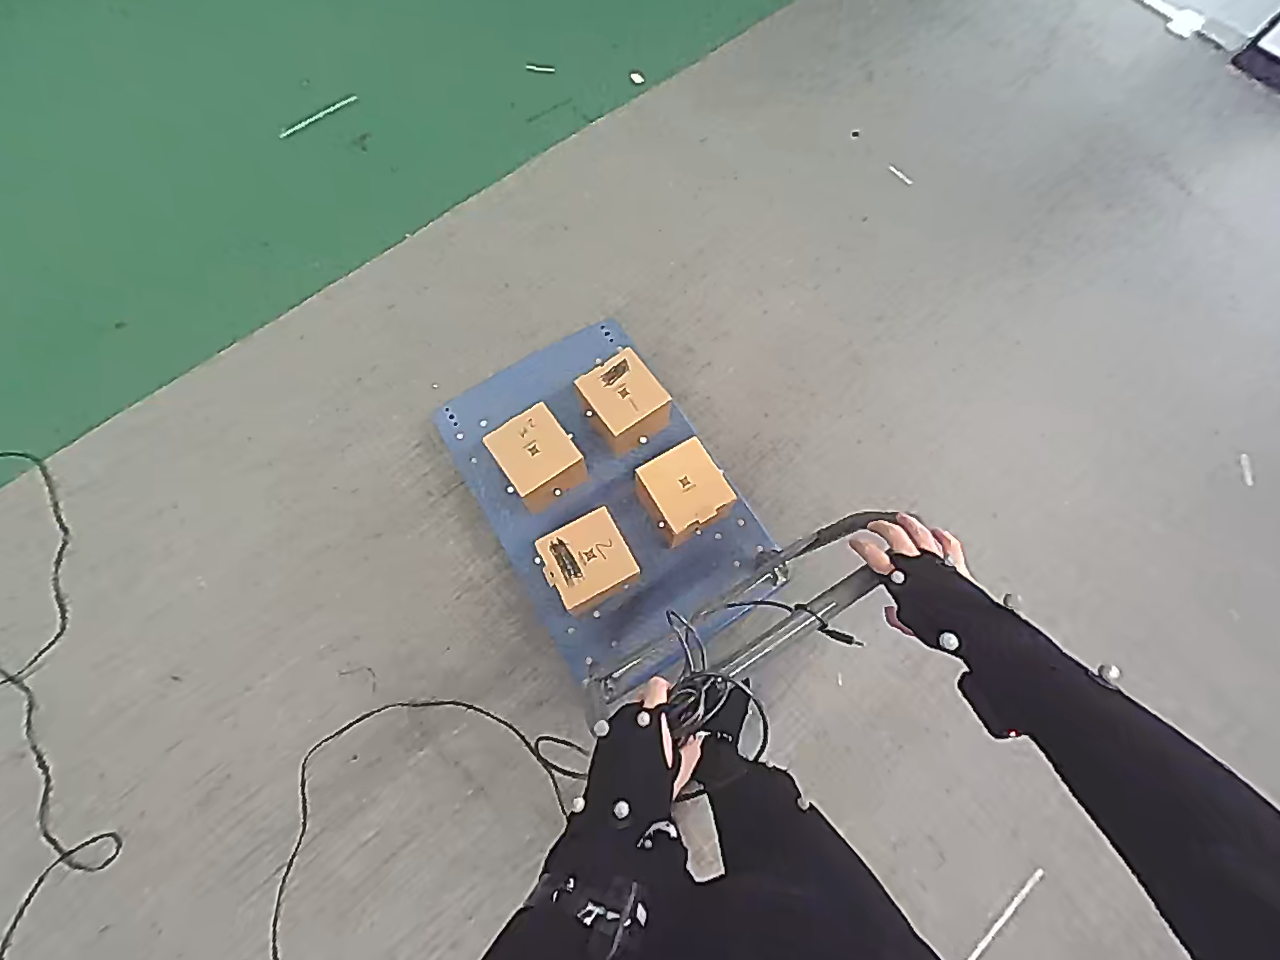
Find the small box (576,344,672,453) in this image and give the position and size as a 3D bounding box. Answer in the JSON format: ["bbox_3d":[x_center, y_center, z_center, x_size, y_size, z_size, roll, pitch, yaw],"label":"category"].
[{"bbox_3d":[-0.041,-0.197,1.350,0.168,0.176,0.179,-34,77,-10],"label":"small box"}]

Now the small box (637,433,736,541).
[{"bbox_3d":[0.101,0.023,1.285,0.168,0.176,0.179,-29,76,-10],"label":"small box"}]

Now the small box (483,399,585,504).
[{"bbox_3d":[-0.245,-0.058,1.303,0.168,0.176,0.179,-34,76,-11],"label":"small box"}]
